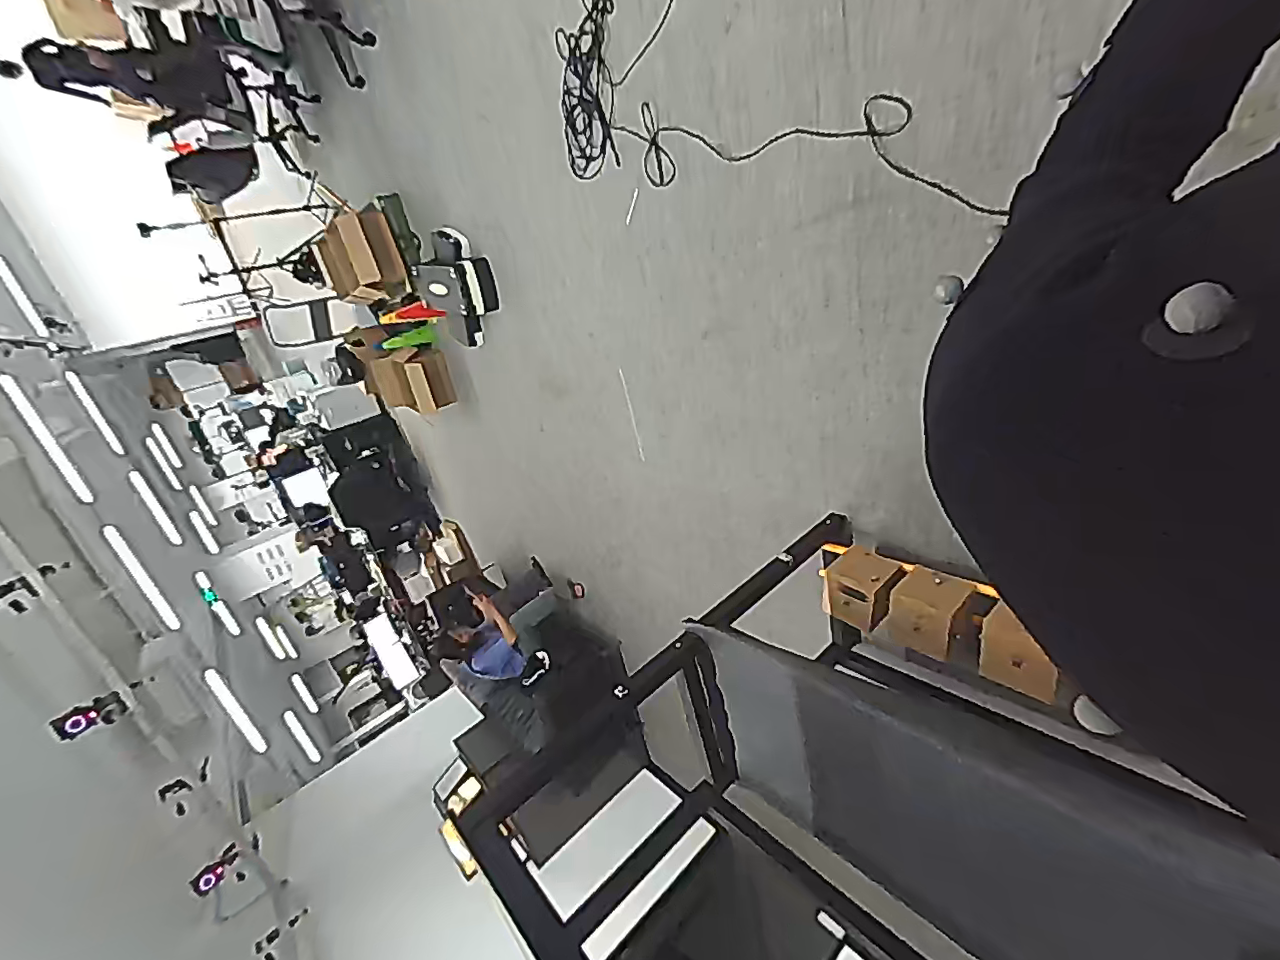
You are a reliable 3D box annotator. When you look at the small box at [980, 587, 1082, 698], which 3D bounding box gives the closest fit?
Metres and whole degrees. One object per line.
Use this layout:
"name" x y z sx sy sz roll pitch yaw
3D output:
"small box" 0.996 0.407 1.380 0.168 0.176 0.179 17 125 49
